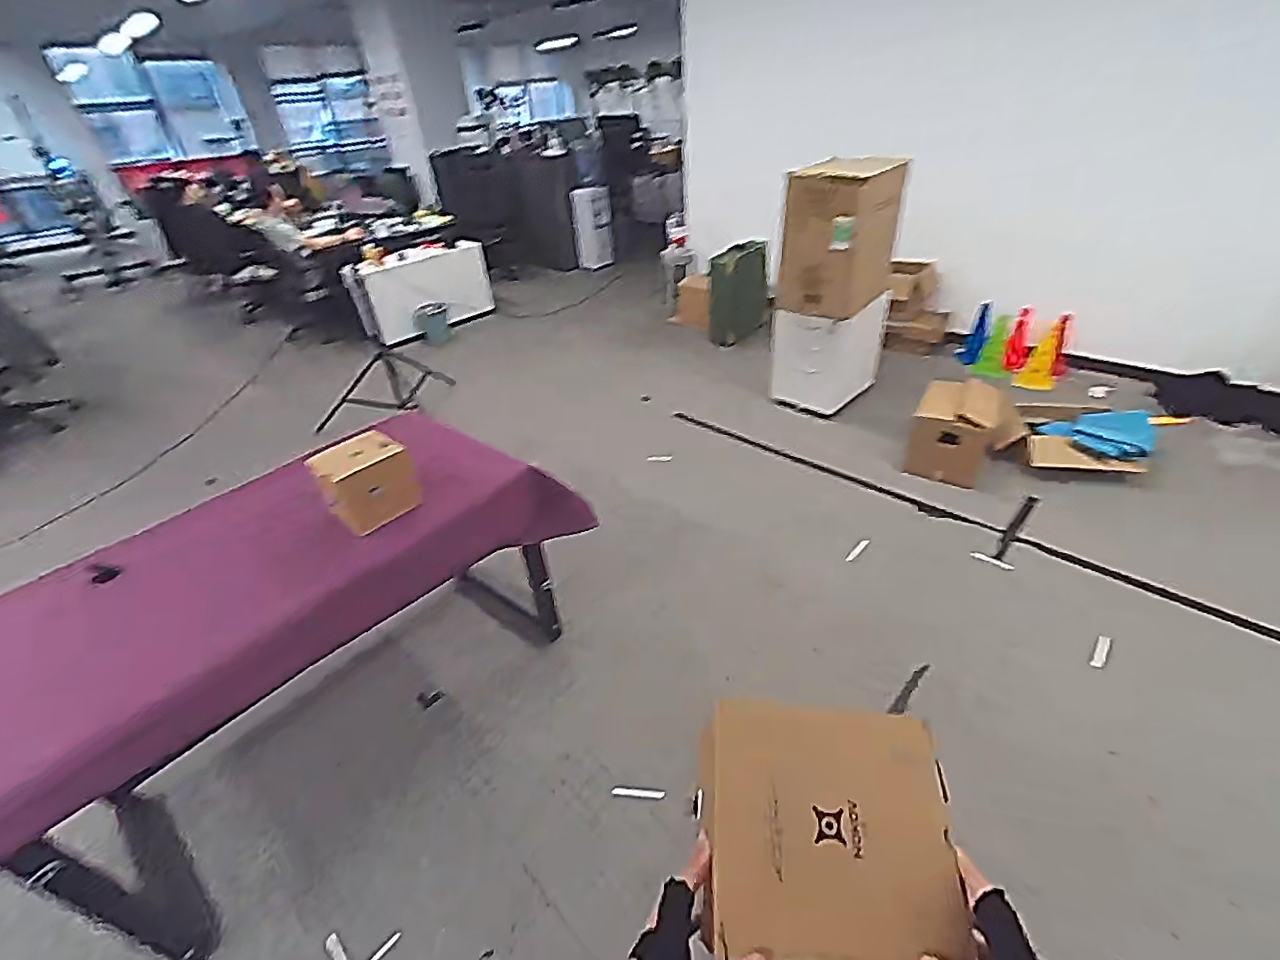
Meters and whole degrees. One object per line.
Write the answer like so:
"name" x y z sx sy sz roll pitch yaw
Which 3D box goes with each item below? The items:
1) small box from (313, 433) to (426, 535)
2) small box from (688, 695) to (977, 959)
"small box" -0.674 0.010 1.364 0.168 0.176 0.179 24 45 34
"small box" 0.136 0.293 0.461 0.179 0.176 0.168 2 54 1
